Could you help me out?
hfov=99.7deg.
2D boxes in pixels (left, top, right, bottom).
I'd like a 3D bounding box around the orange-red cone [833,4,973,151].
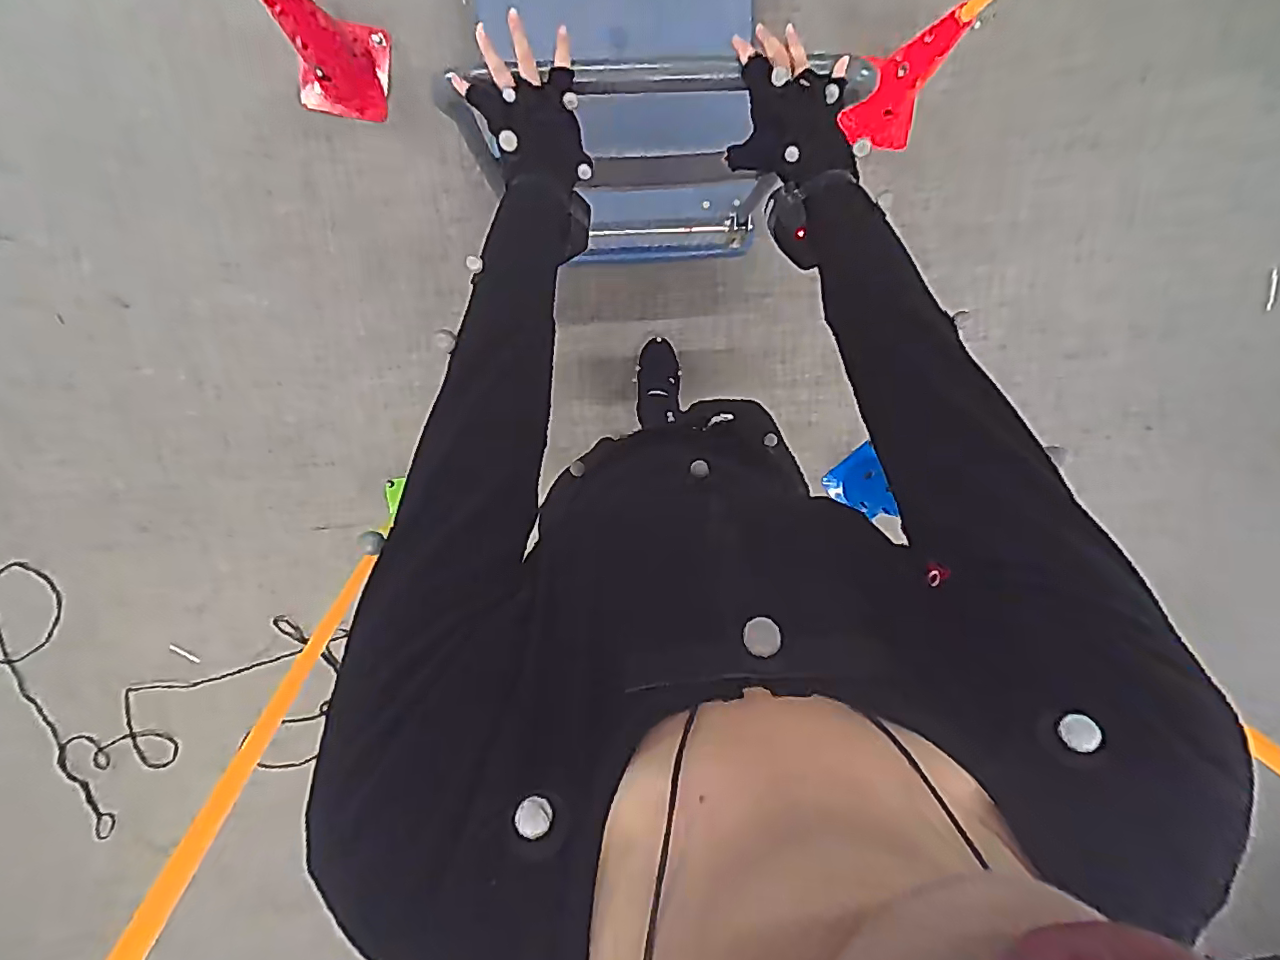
[{"bbox_3d":[0.601,-0.907,1.186,0.198,0.360,0.199,6,102,-4],"label":"orange-red cone"}]
